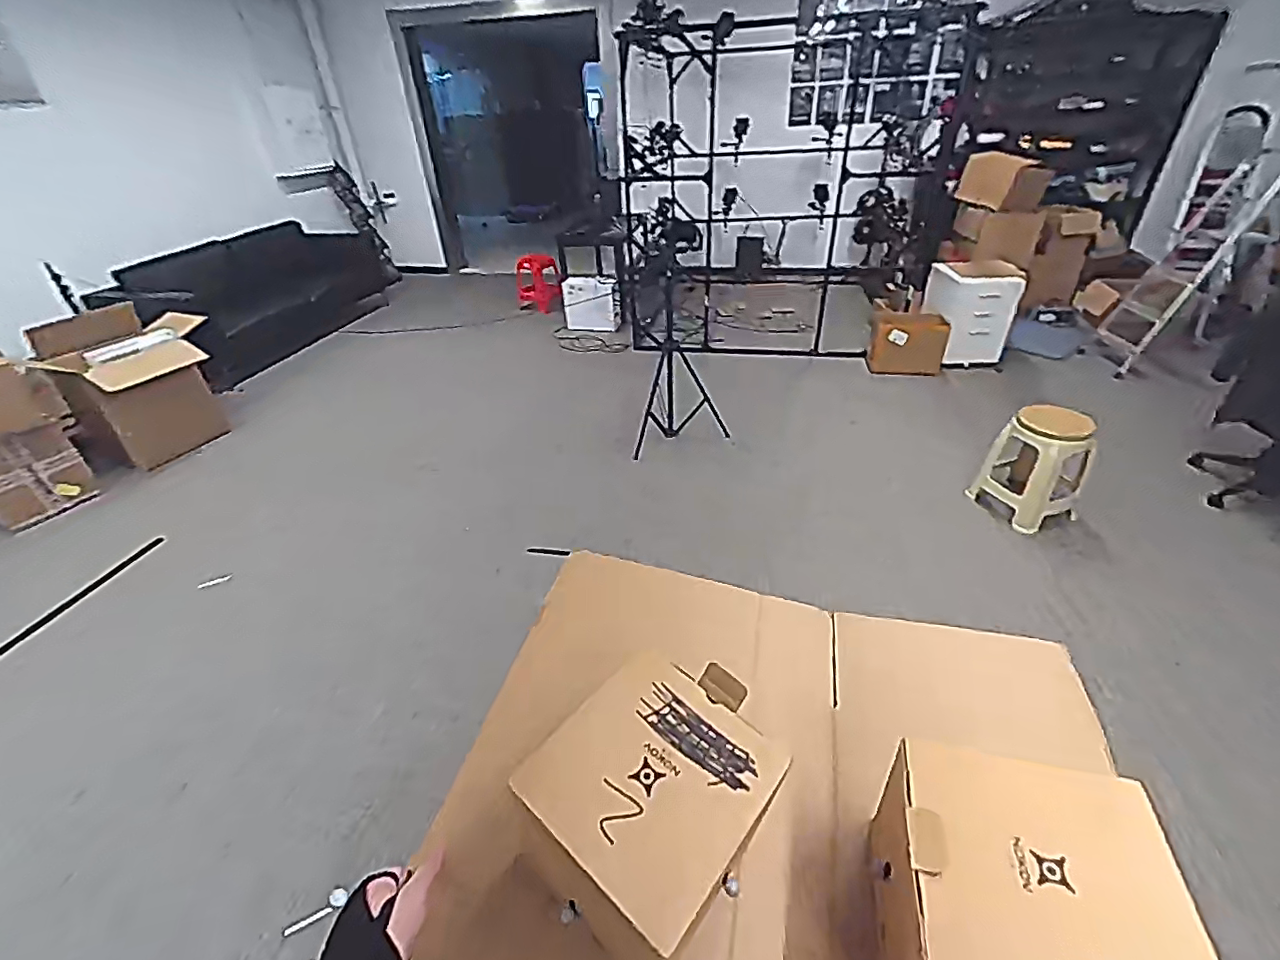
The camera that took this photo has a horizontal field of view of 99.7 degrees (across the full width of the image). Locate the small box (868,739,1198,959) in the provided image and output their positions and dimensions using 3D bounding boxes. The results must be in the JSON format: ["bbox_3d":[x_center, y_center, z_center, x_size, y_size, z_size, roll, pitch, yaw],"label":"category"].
[{"bbox_3d":[0.299,0.352,0.449,0.179,0.176,0.168,4,37,16],"label":"small box"}]
